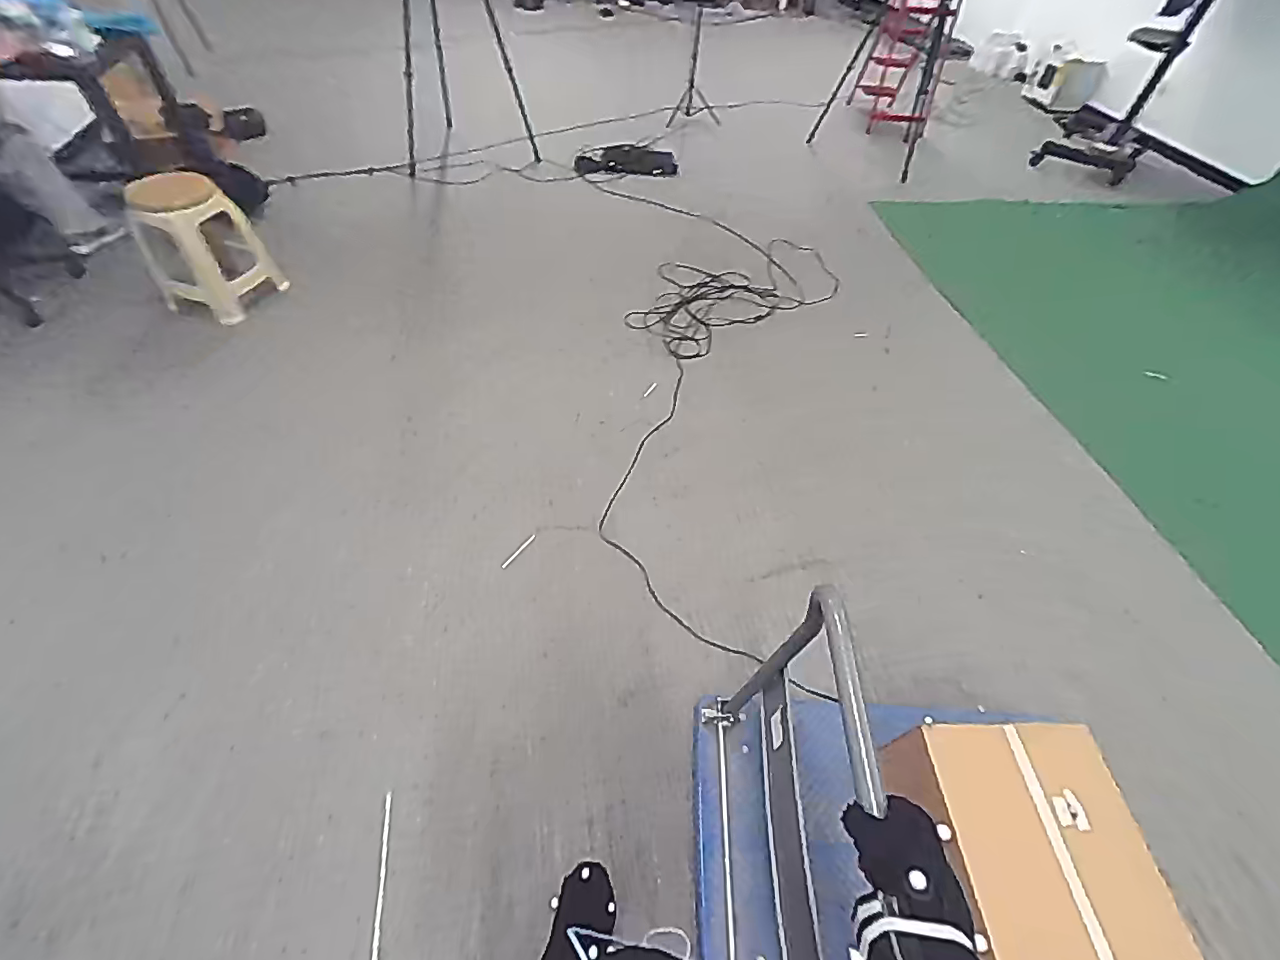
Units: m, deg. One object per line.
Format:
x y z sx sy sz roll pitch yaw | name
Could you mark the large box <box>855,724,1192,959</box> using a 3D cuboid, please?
0.632 0.689 0.960 0.320 0.320 0.408 2 50 -4 | large box
